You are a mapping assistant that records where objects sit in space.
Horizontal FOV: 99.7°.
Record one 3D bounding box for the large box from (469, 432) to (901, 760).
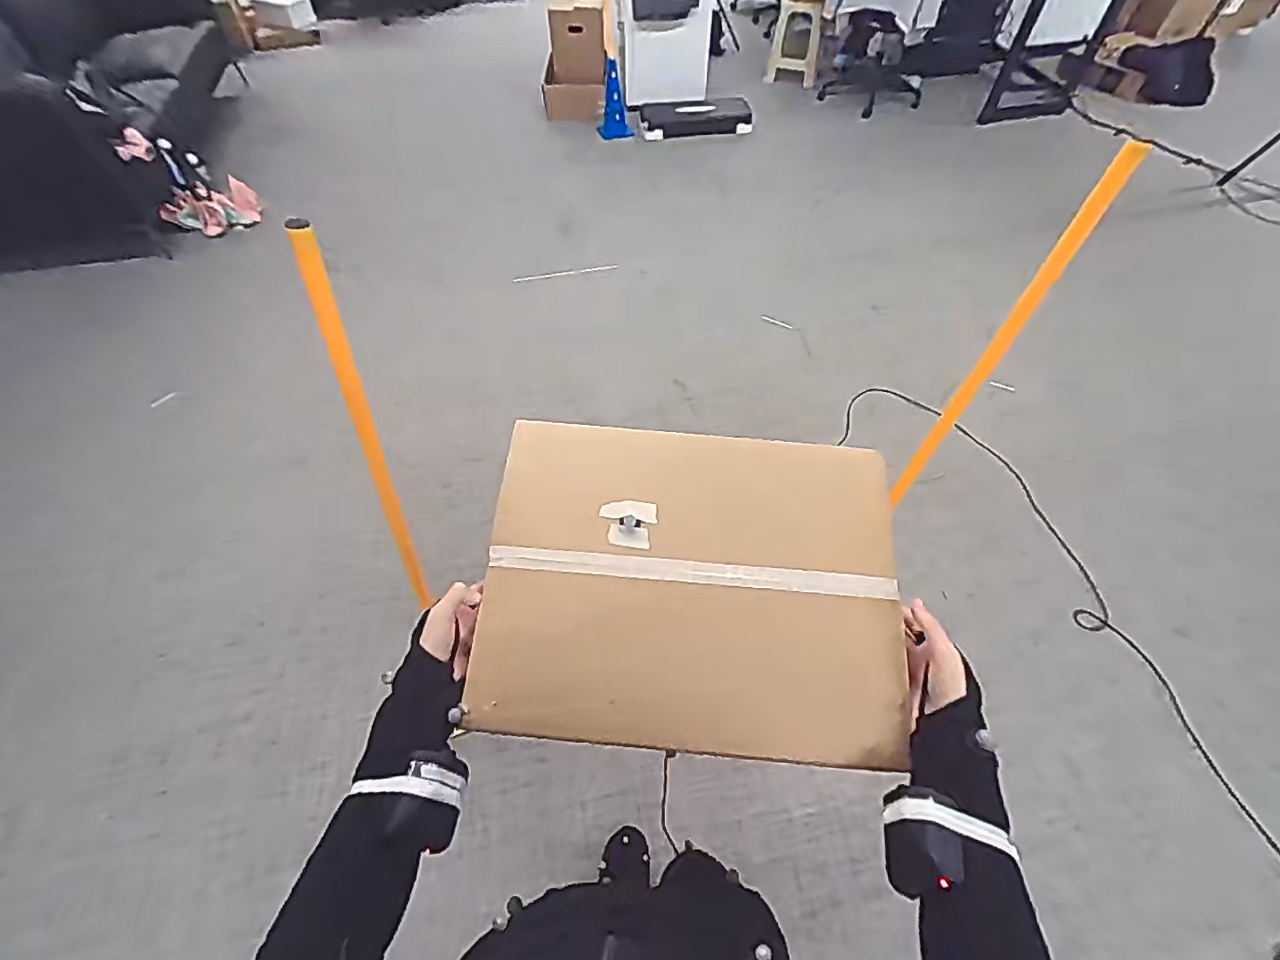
[{"bbox_3d":[0.052,0.153,0.686,0.408,0.320,0.320,4,67,2],"label":"large box"}]
